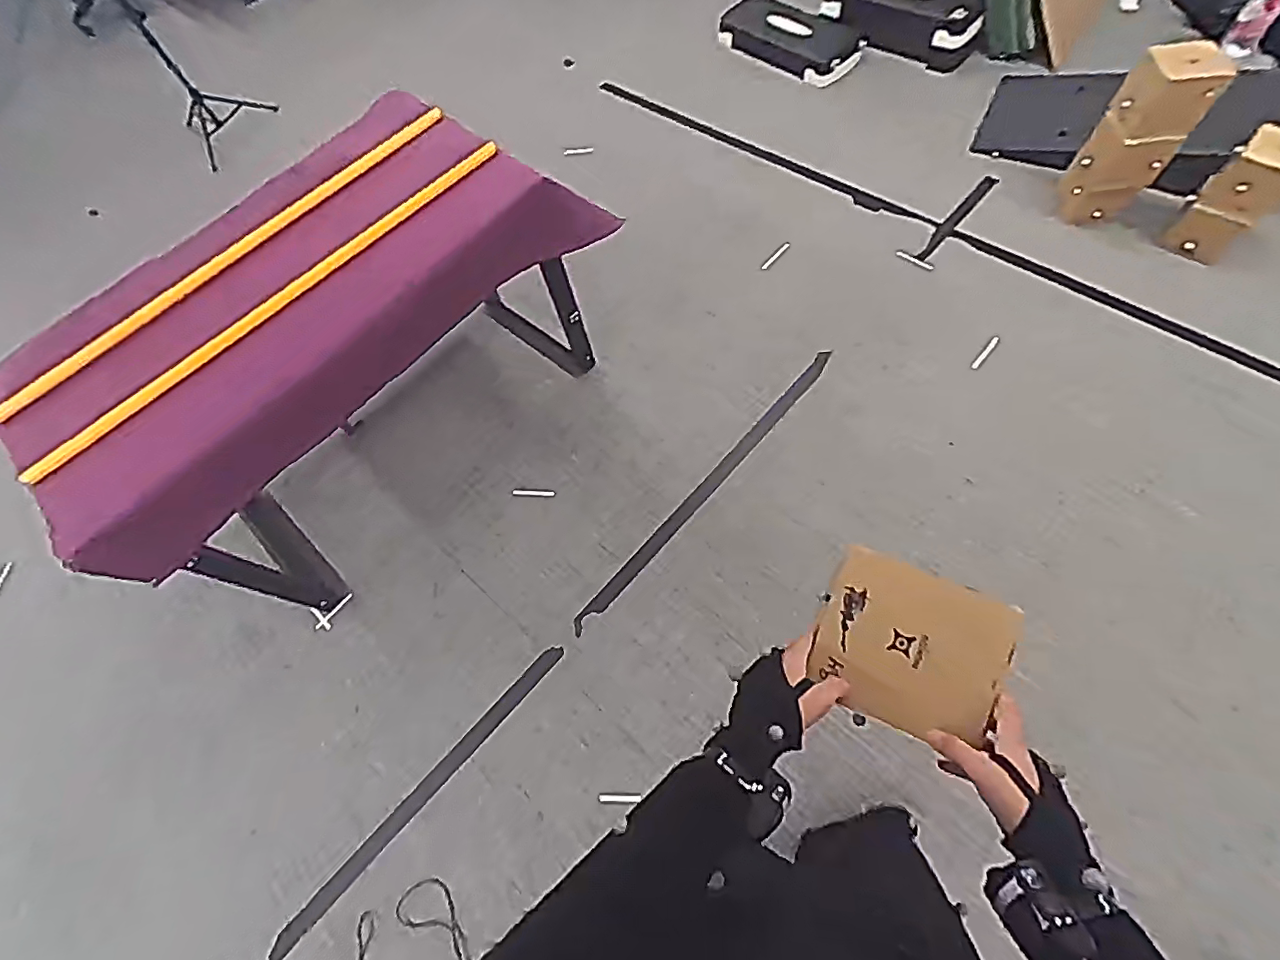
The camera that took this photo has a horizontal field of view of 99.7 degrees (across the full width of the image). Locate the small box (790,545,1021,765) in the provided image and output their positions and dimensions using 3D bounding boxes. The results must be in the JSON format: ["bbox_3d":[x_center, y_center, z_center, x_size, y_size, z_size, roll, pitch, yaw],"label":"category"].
[{"bbox_3d":[0.288,0.191,0.626,0.179,0.176,0.168,21,80,17],"label":"small box"}]
